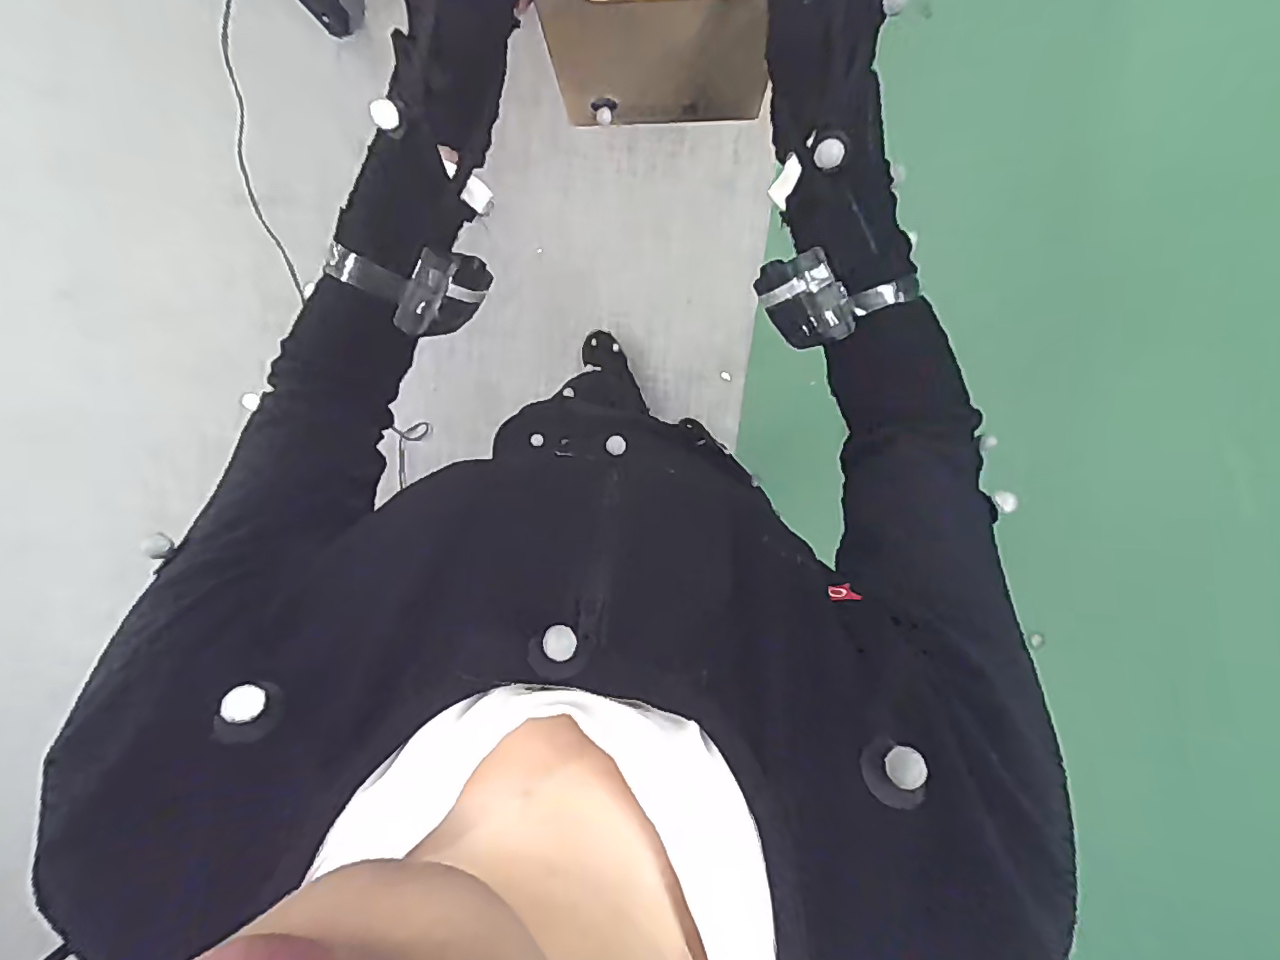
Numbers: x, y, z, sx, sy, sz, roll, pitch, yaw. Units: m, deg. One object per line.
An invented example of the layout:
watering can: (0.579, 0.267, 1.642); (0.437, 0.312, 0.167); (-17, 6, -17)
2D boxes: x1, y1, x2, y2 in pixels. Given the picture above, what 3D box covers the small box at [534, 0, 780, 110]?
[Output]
small box: (0.015, -0.395, 0.384); (0.168, 0.176, 0.179); (-1, 93, 3)
